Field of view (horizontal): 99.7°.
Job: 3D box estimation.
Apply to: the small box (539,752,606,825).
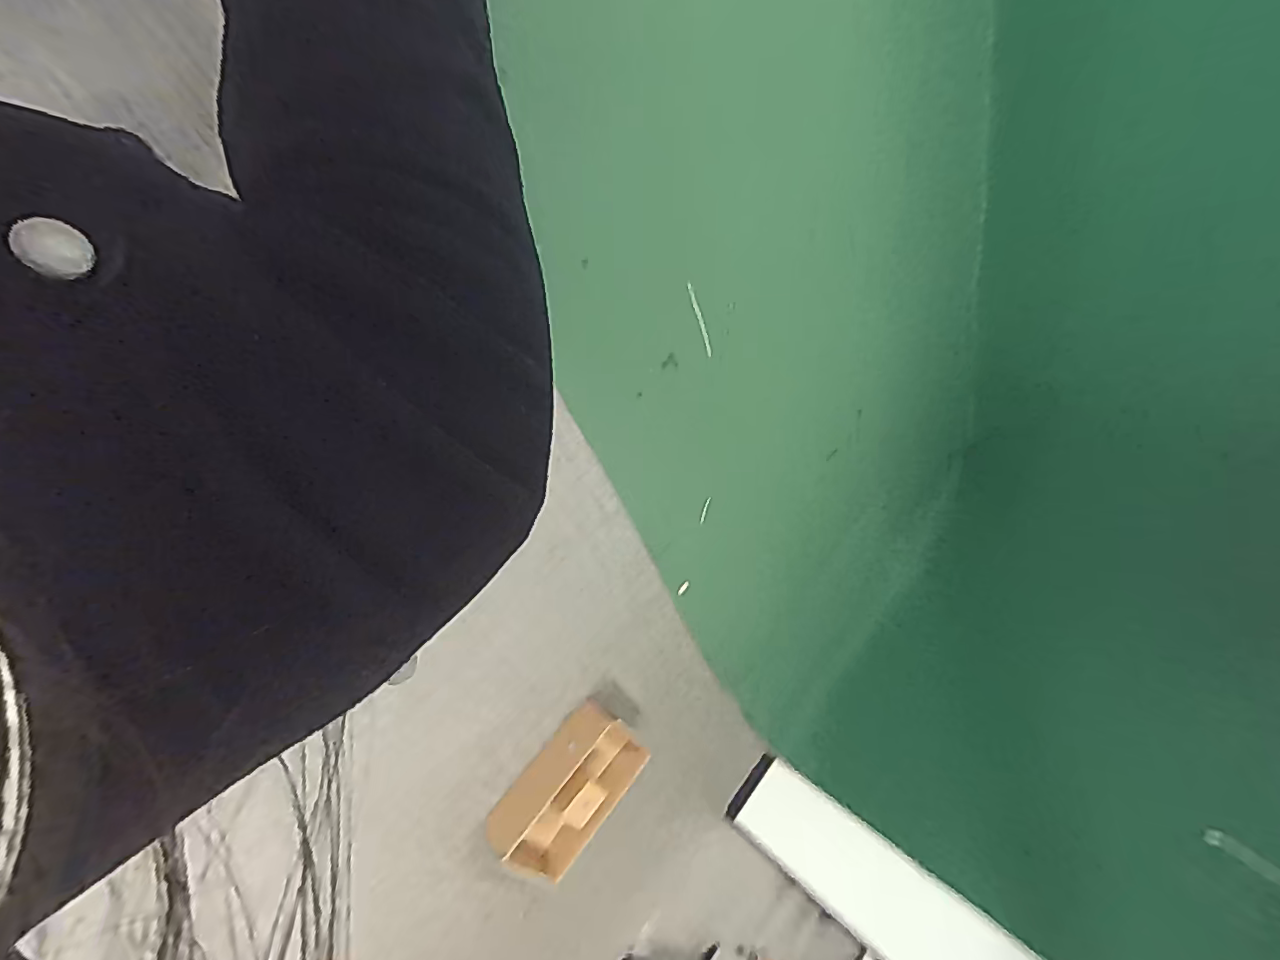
[{"bbox_3d":[-0.272,1.221,2.149,0.168,0.176,0.179,-47,134,-20],"label":"small box"}]
